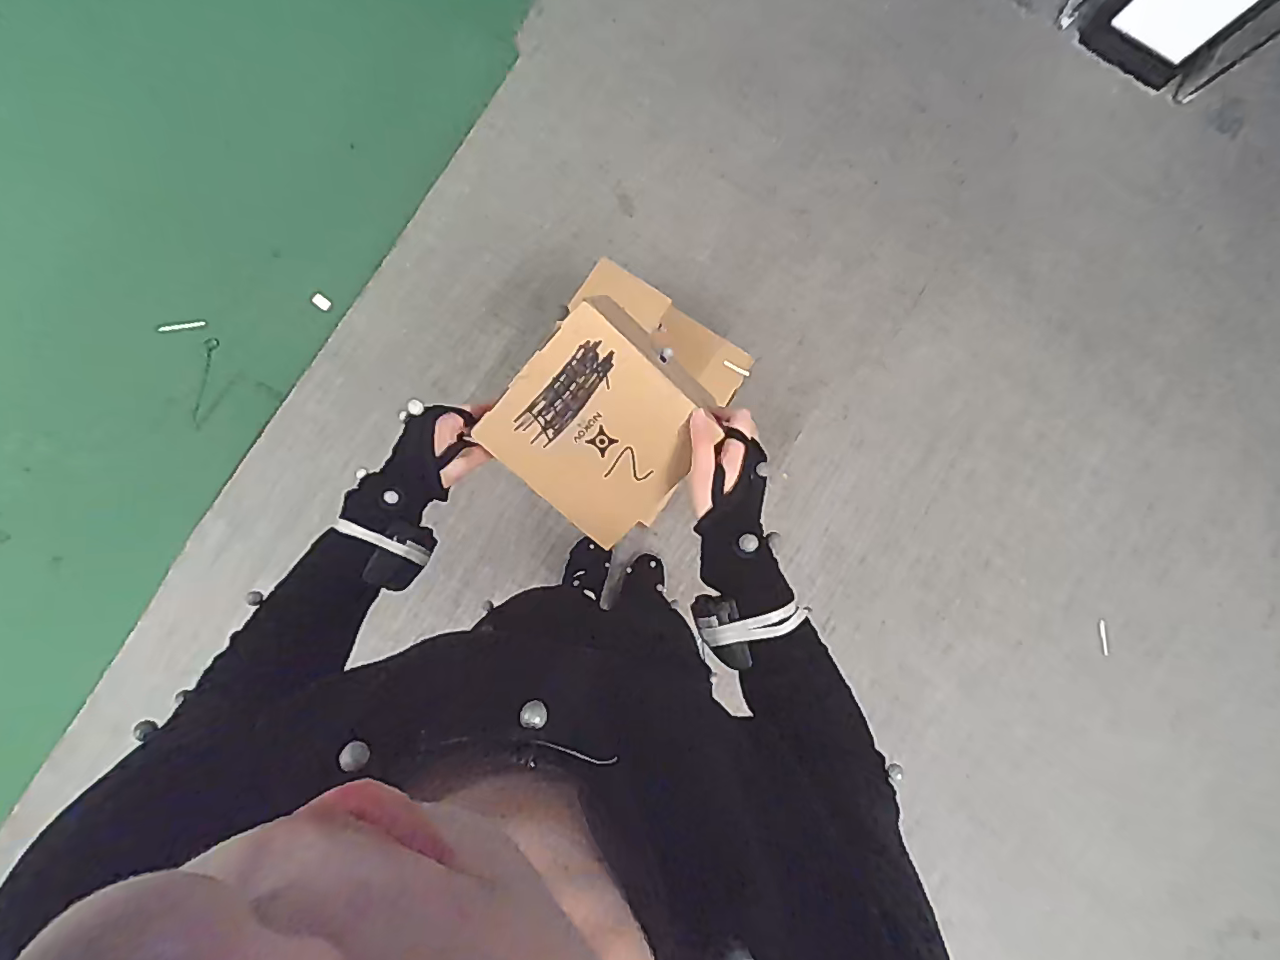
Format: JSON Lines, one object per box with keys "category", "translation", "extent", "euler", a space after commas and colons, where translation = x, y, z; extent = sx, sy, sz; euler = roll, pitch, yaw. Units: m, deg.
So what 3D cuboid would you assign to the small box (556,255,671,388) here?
{"category": "small box", "translation": [-0.059, -0.323, 1.134], "extent": [0.168, 0.176, 0.179], "euler": [33, 83, 0]}
